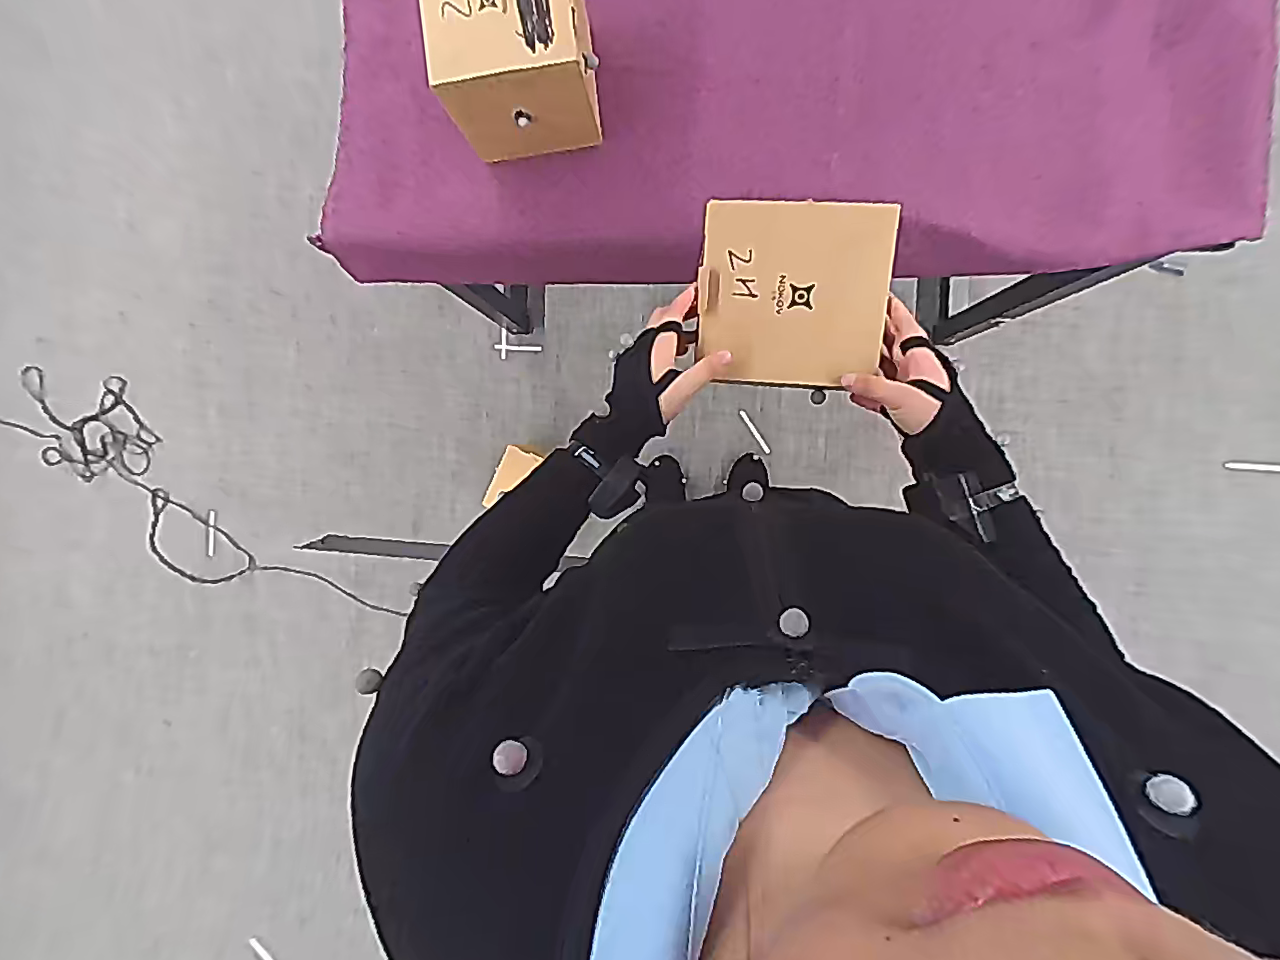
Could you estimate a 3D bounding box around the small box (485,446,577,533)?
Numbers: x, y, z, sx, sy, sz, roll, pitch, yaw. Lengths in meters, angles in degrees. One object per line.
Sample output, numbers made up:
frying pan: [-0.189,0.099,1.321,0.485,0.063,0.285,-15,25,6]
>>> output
small box: [-0.284,0.020,1.455,0.168,0.176,0.179,25,94,2]

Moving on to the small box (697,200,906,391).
small box: [0.159,-0.185,0.584,0.179,0.176,0.168,5,99,8]
